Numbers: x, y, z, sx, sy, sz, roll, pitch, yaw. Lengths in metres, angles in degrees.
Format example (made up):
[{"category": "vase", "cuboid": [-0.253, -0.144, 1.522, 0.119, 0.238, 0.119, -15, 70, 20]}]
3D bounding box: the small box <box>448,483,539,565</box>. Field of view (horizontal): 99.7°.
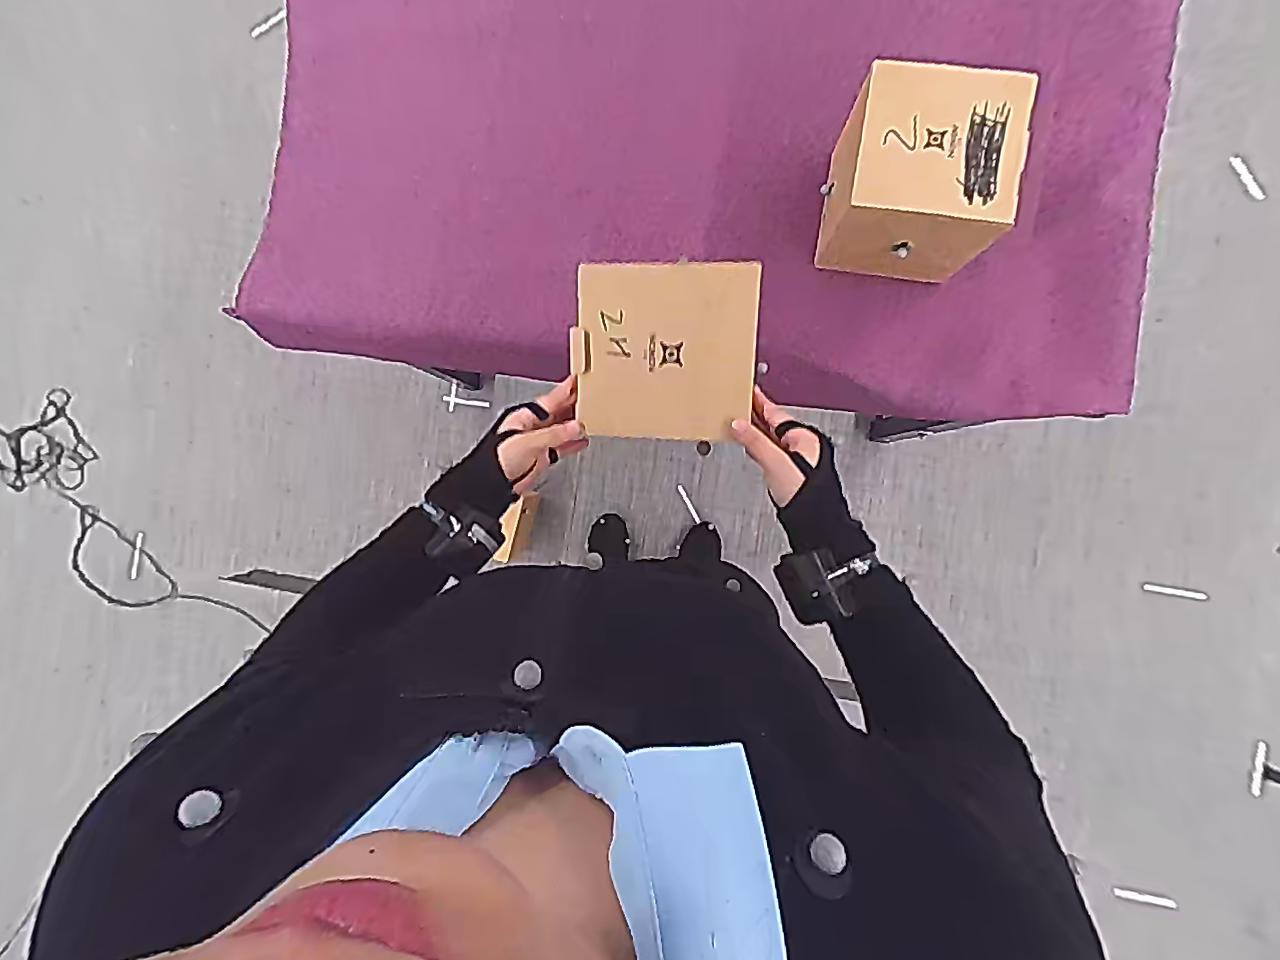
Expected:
[{"category": "small box", "cuboid": [-0.382, 0.111, 1.441, 0.168, 0.176, 0.179, 14, 90, 3]}]
